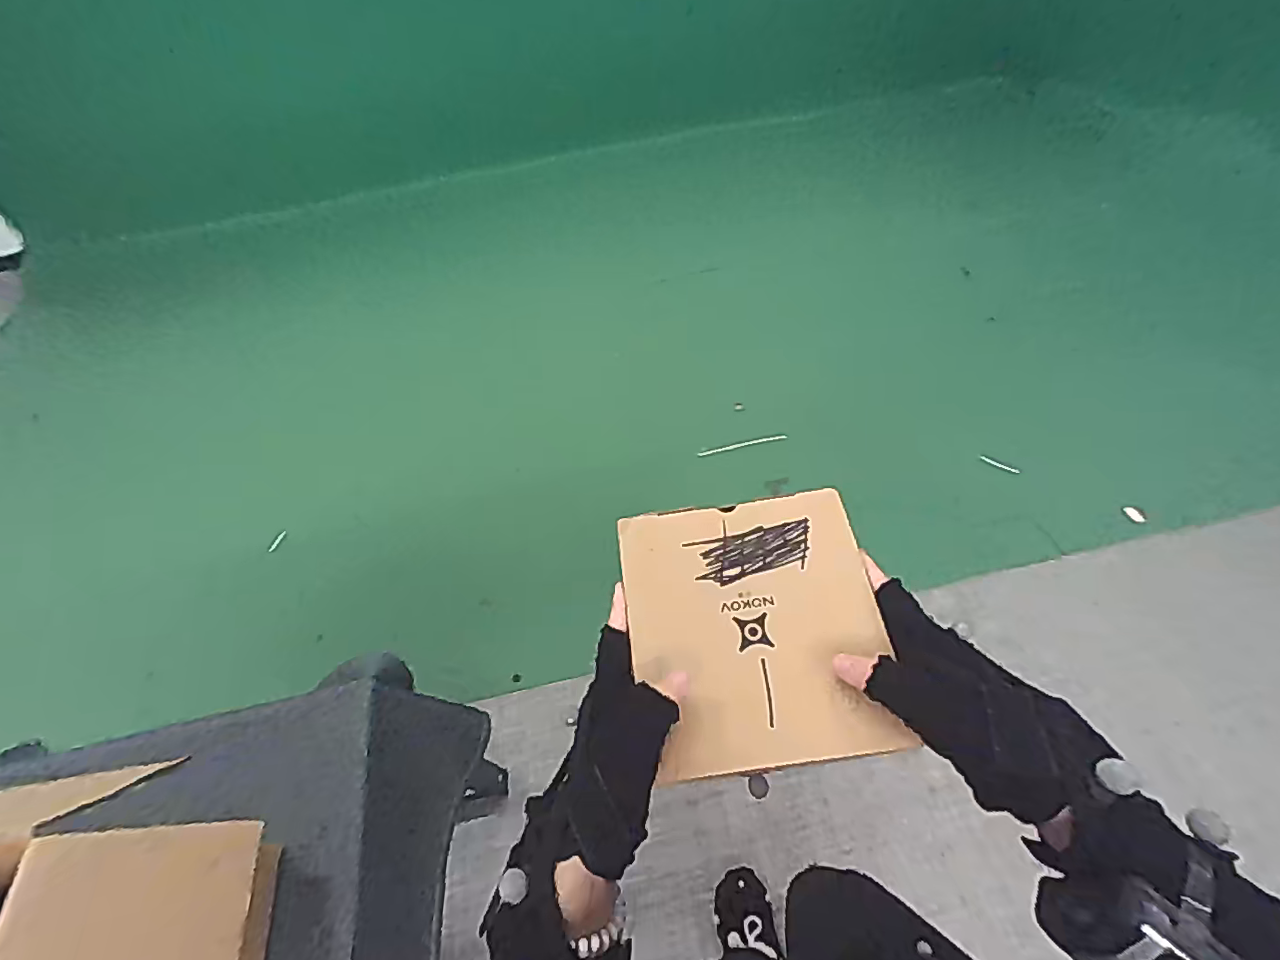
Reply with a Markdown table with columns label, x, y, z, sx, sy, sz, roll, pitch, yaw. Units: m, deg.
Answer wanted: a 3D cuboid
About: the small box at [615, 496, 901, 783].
| label | x | y | z | sx | sy | sz | roll | pitch | yaw |
| --- | --- | --- | --- | --- | --- | --- | --- | --- | --- |
| small box | 0.073 | 0.135 | 0.435 | 0.168 | 0.176 | 0.179 | -8 | 60 | 0 |
